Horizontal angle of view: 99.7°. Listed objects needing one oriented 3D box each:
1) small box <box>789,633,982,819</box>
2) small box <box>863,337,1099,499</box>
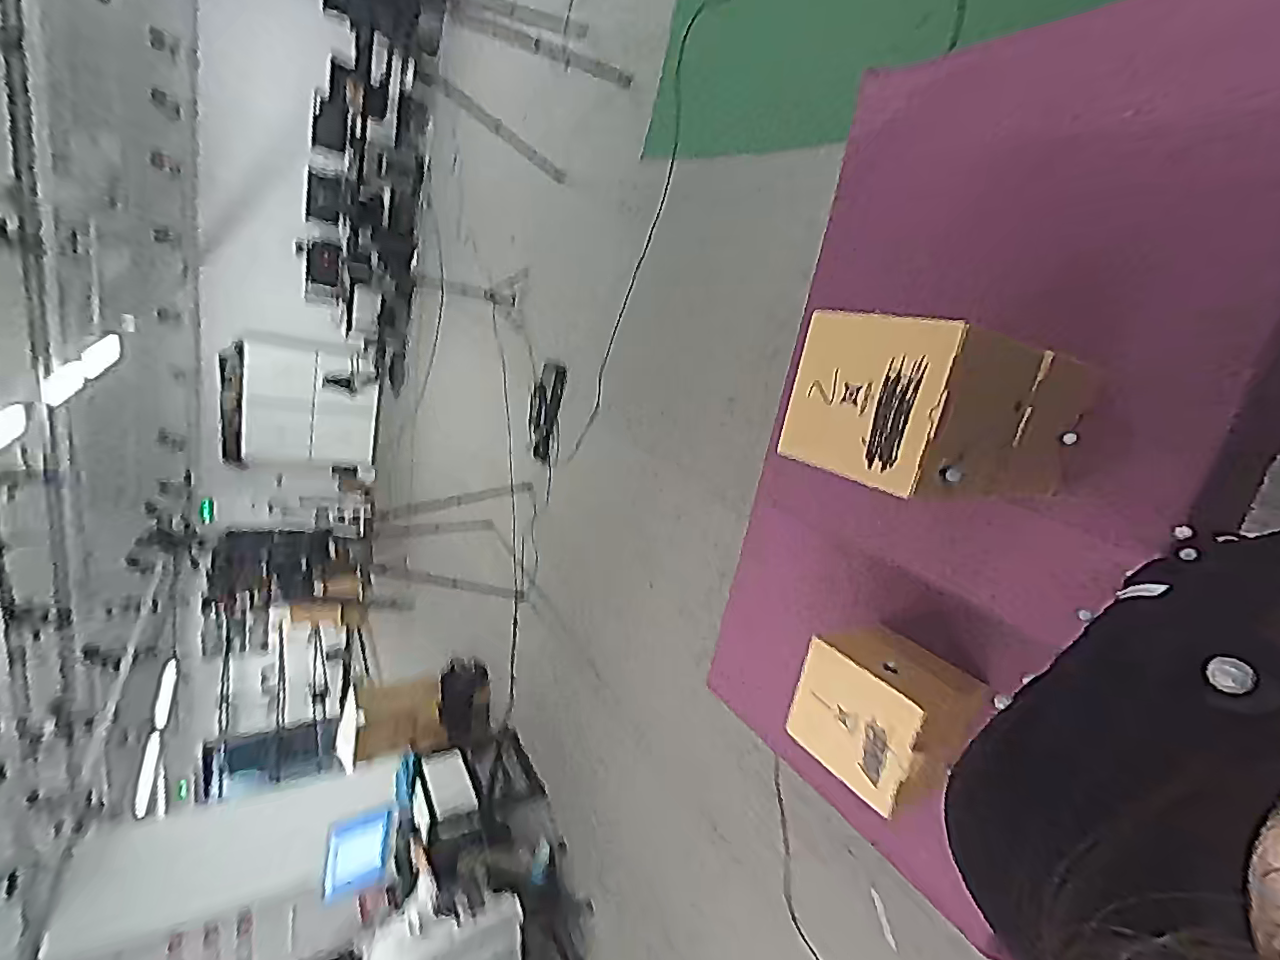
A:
[{"bbox_3d":[0.356,0.340,0.790,0.179,0.176,0.168,29,111,54],"label":"small box"},{"bbox_3d":[0.434,-0.078,0.700,0.179,0.176,0.168,34,116,51],"label":"small box"}]
